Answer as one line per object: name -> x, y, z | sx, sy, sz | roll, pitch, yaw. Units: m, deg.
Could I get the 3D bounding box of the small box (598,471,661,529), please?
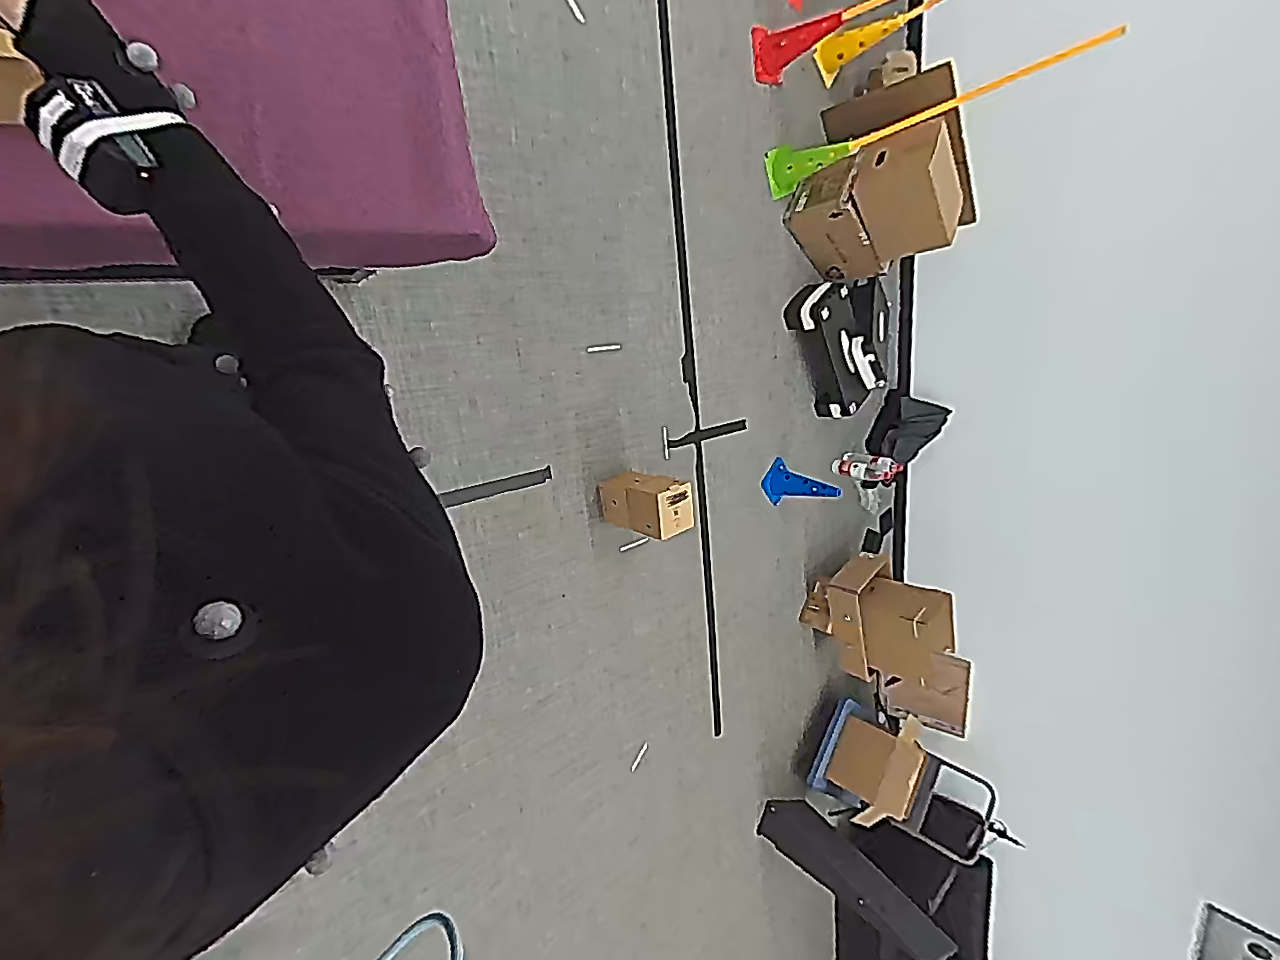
small box -> -0.046, 0.073, 2.079 | 0.179, 0.176, 0.168 | -23, 113, -37

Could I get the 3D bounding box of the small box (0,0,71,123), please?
small box -> -0.654, -0.434, 0.468 | 0.179, 0.176, 0.168 | -23, 113, -37
